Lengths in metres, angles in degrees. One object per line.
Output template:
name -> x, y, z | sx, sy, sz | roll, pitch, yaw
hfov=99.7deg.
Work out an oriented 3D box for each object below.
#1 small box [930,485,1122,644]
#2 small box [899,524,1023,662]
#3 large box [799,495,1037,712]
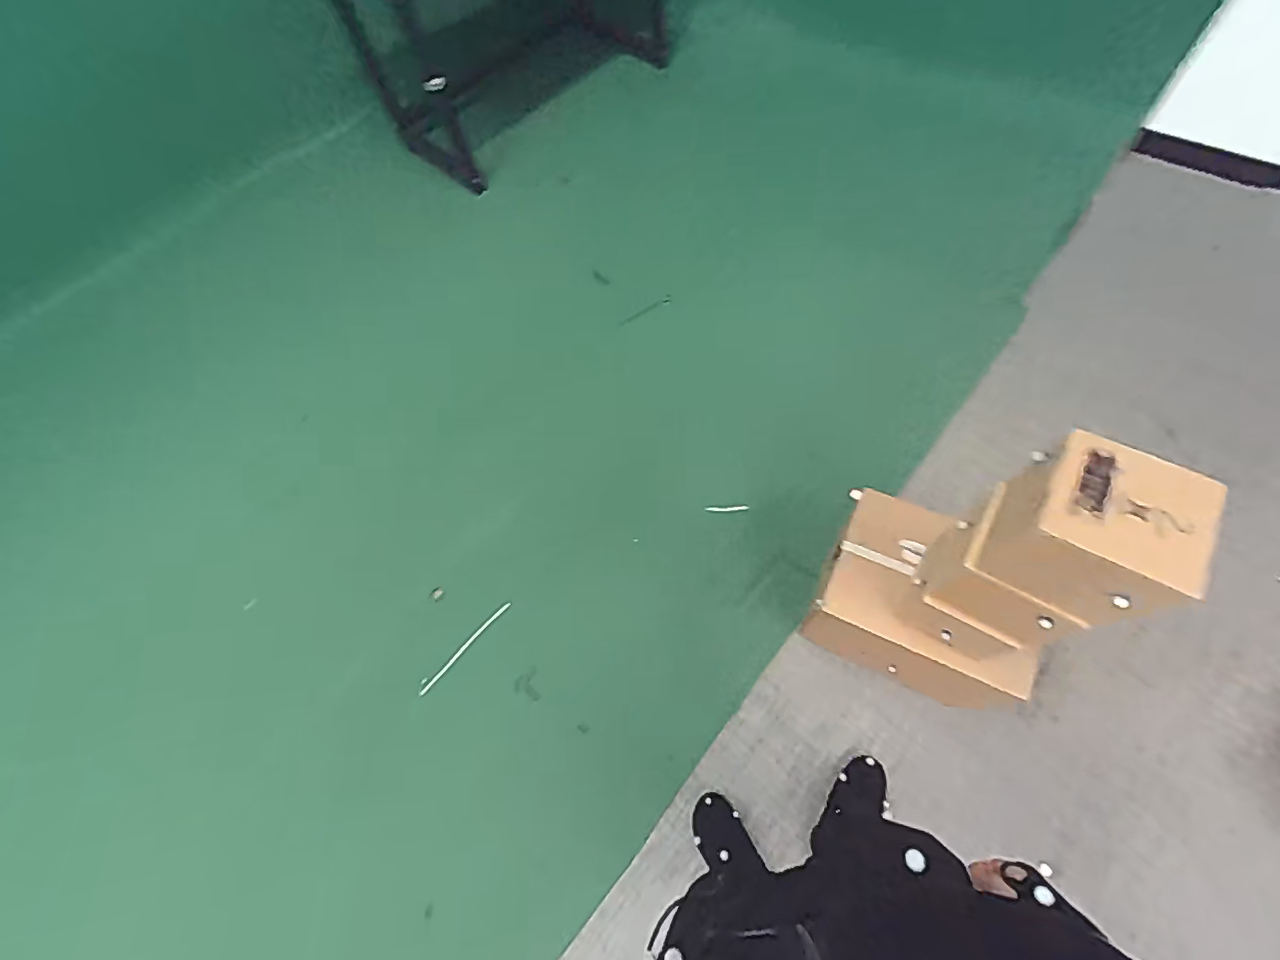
small box -> 0.606, 0.144, 0.873 | 0.179, 0.176, 0.168 | 30, 71, 18
small box -> 0.615, 0.219, 1.016 | 0.168, 0.176, 0.179 | 29, 70, 18
large box -> 0.632, 0.293, 1.253 | 0.408, 0.320, 0.320 | 22, 67, 18
